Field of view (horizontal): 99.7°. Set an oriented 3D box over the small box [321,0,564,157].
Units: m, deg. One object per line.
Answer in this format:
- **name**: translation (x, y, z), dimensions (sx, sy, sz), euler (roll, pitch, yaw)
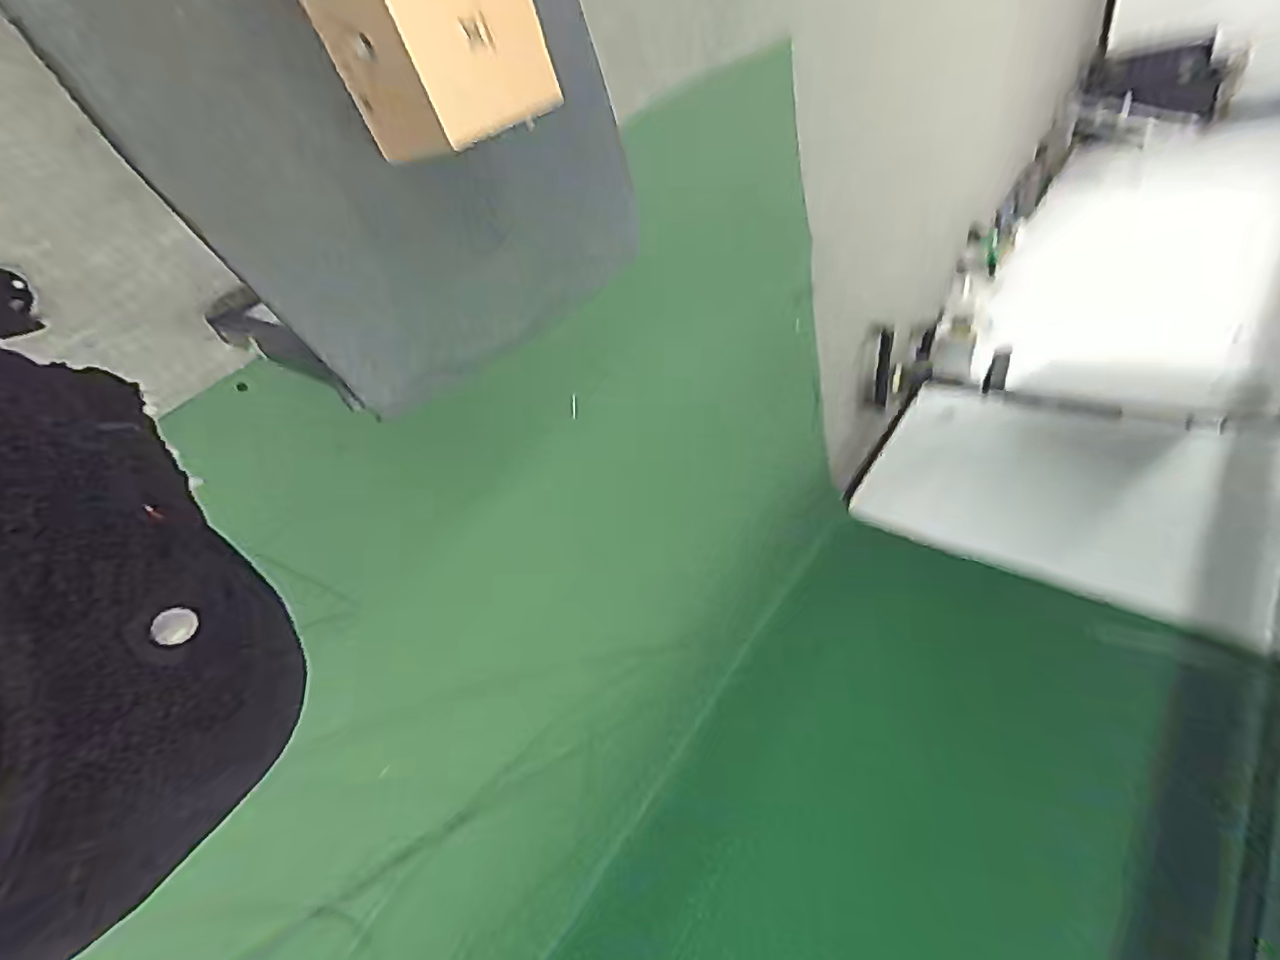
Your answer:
- **small box**: translation (-0.225, -0.489, 0.613), dimensions (0.179, 0.176, 0.168), euler (-46, 136, -27)
